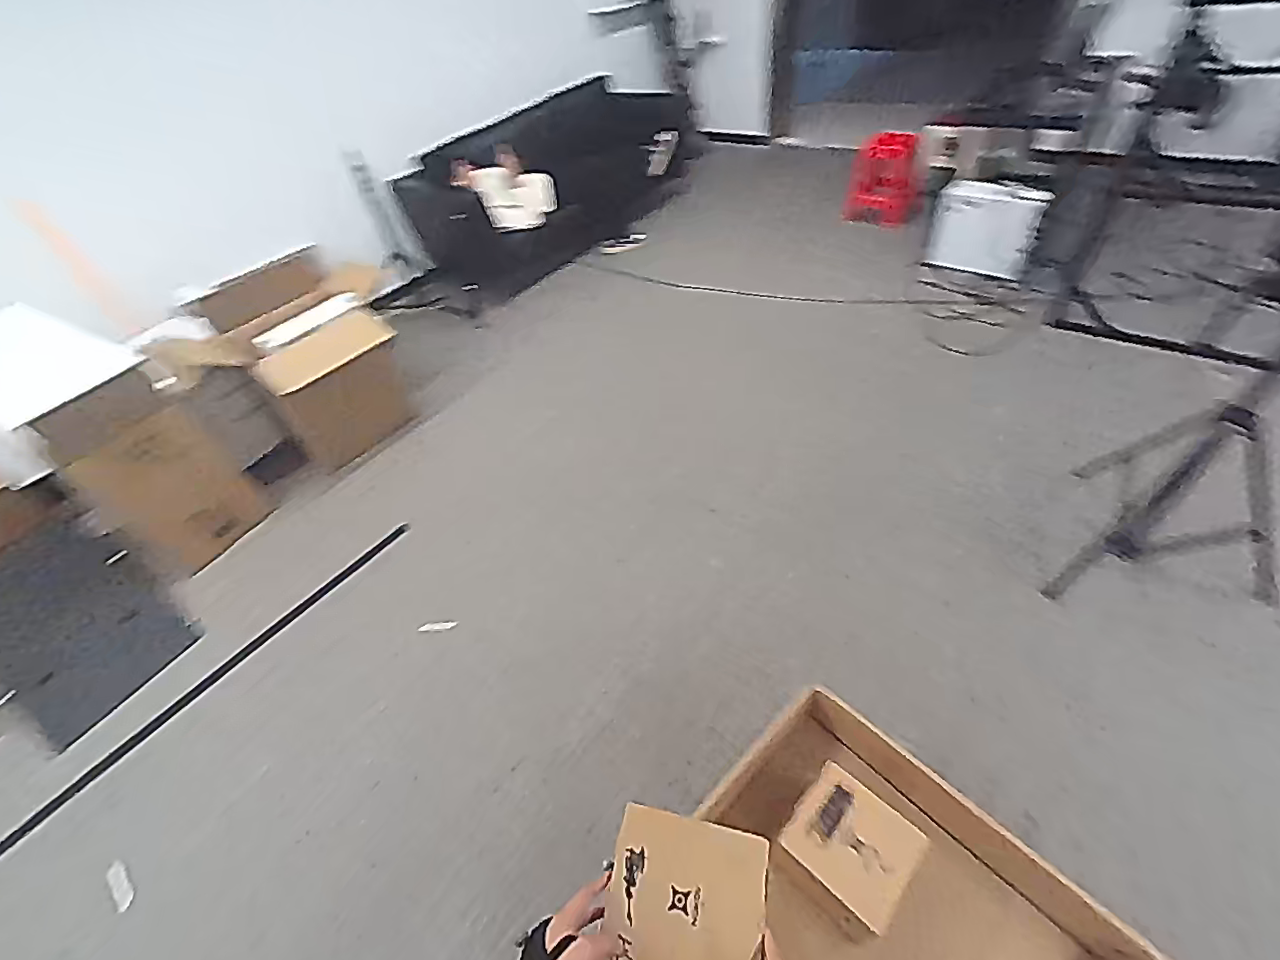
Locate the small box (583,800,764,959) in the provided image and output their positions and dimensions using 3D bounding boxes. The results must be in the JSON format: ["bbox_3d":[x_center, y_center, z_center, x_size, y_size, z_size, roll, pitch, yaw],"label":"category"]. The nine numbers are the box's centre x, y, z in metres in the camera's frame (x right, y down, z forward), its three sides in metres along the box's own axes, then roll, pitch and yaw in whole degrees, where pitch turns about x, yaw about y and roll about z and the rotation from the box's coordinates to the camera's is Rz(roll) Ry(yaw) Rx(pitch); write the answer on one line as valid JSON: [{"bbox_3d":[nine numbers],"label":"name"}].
[{"bbox_3d":[0.037,0.514,0.649,0.179,0.176,0.168,13,47,4],"label":"small box"}]
